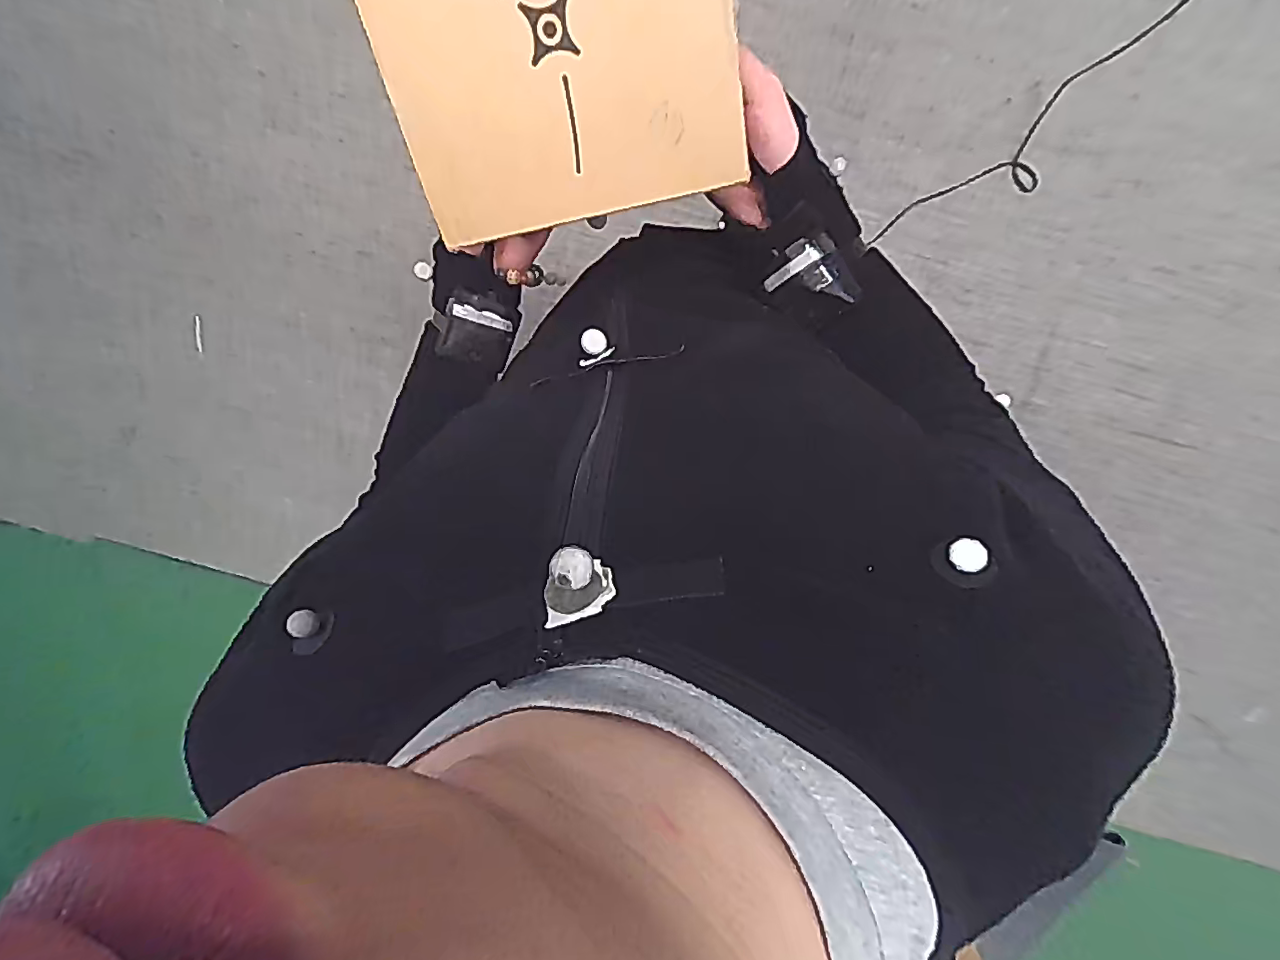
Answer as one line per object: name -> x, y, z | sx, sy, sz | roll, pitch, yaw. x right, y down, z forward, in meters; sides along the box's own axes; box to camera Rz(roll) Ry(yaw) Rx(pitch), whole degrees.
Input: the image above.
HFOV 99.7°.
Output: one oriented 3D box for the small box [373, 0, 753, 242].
small box -> -0.038, -0.254, 0.310 | 0.168, 0.176, 0.179 | -10, 122, 5
